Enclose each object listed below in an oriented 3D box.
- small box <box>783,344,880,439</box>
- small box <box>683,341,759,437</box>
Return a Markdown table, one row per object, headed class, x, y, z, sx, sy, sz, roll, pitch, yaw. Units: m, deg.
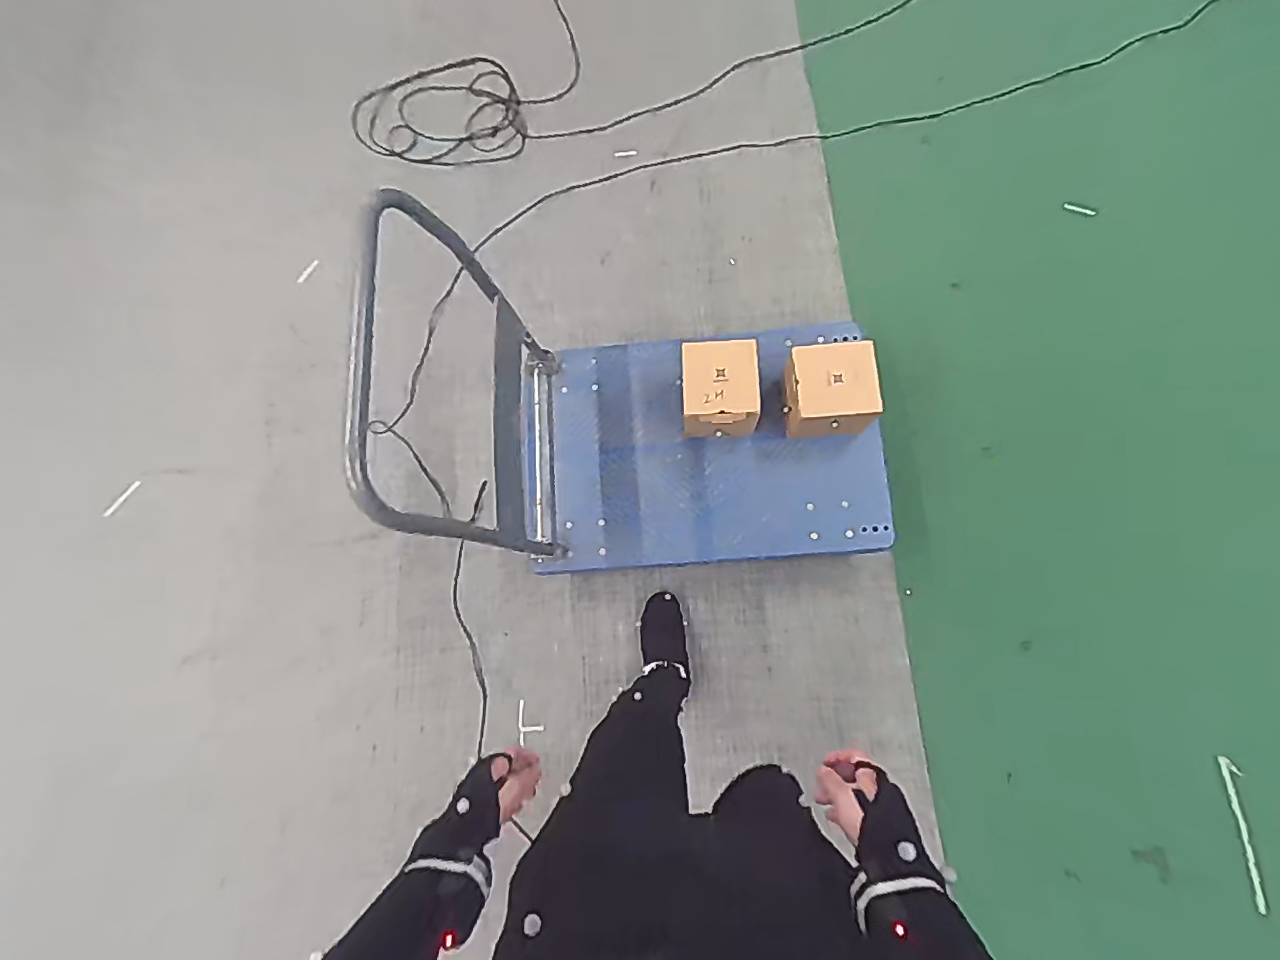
| class | x | y | z | sx | sy | sz | roll | pitch | yaw |
| --- | --- | --- | --- | --- | --- | --- | --- | --- | --- |
| small box | 0.429 | -0.196 | 1.243 | 0.179 | 0.176 | 0.168 | -3 | 78 | 5 |
| small box | 0.184 | -0.208 | 1.267 | 0.168 | 0.176 | 0.179 | -1 | 78 | 5 |
